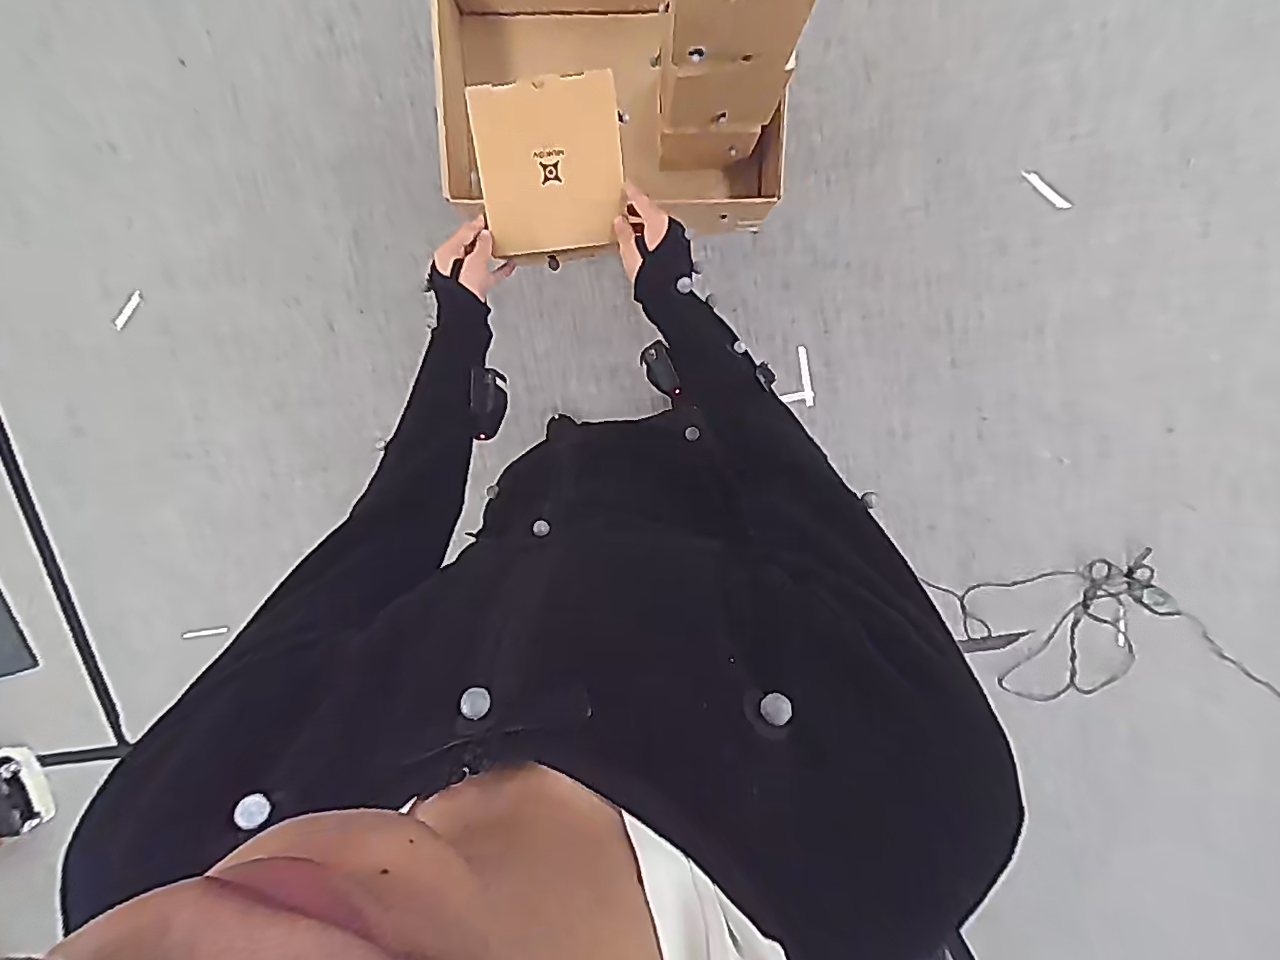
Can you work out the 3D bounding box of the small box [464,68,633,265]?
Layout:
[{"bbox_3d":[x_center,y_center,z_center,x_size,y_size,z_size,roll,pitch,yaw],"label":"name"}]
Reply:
[{"bbox_3d":[-0.100,-0.373,0.679,0.168,0.176,0.179,-6,106,2],"label":"small box"}]

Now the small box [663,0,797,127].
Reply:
[{"bbox_3d":[0.128,-0.663,0.821,0.179,0.176,0.168,-2,101,0],"label":"small box"}]

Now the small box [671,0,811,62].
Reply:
[{"bbox_3d":[0.126,-0.647,0.656,0.168,0.176,0.179,2,100,0],"label":"small box"}]
